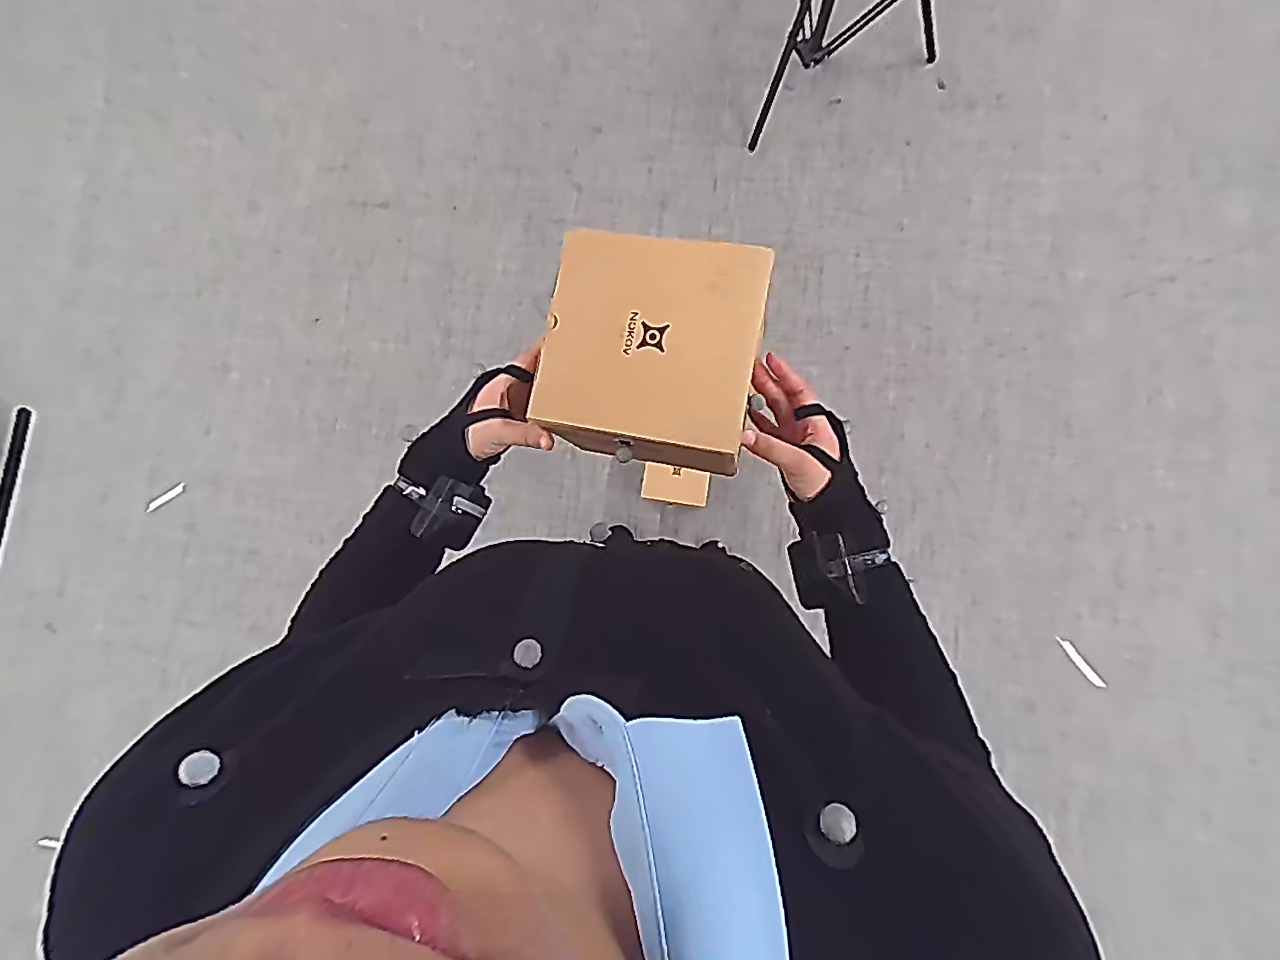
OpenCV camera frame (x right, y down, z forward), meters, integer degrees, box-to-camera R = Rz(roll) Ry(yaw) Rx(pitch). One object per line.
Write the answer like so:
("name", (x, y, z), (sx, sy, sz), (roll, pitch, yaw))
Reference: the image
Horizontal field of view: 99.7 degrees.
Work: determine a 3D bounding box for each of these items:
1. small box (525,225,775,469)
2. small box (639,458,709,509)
("small box", (0.020, -0.109, 0.504), (0.179, 0.176, 0.168), (11, 87, 12))
("small box", (0.096, -0.022, 1.437), (0.168, 0.176, 0.179), (9, 85, 4))
